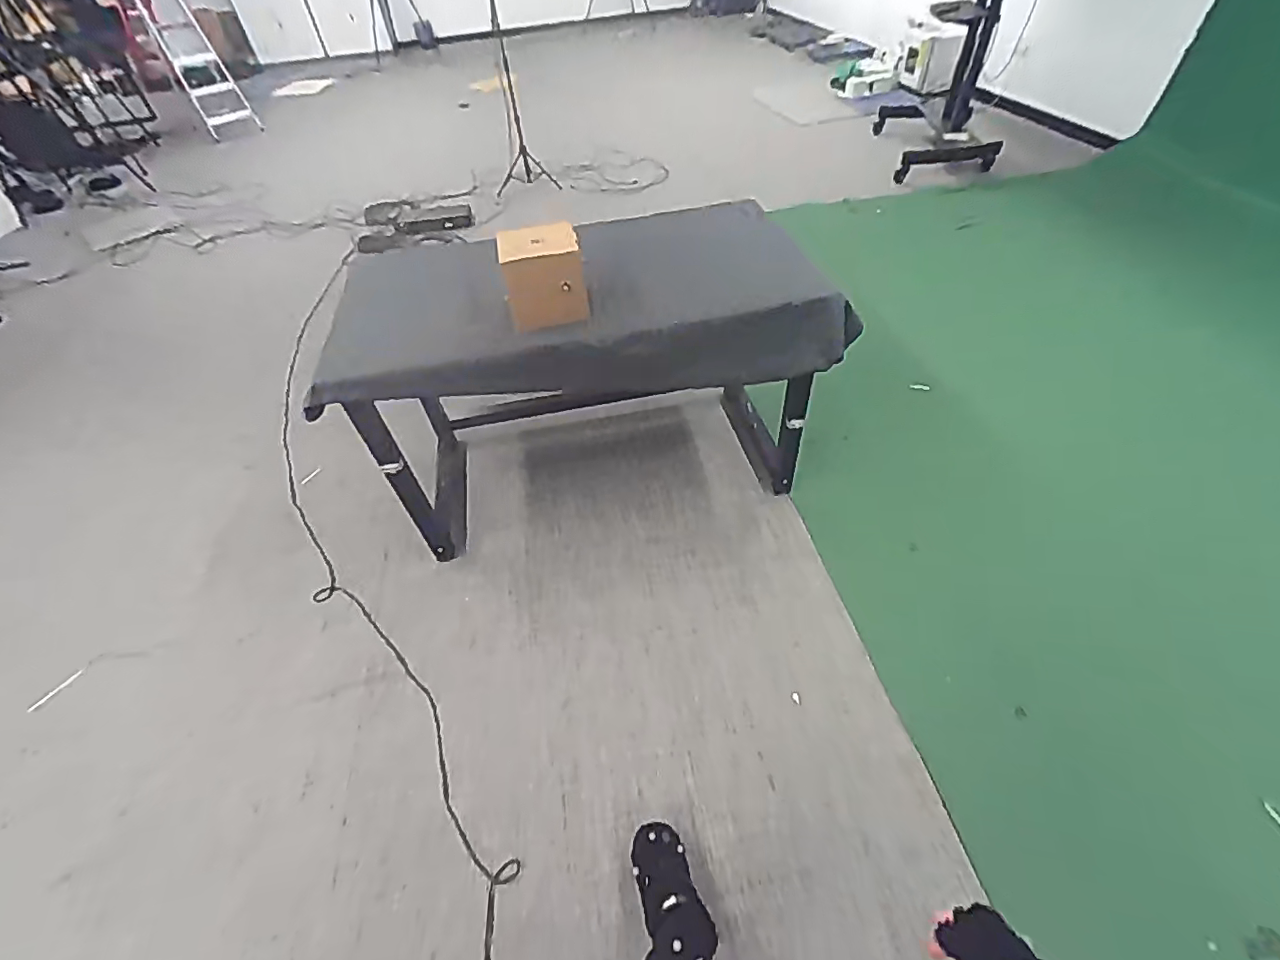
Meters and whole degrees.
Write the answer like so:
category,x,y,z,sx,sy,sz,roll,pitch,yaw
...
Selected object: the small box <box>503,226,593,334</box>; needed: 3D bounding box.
category,x,y,z,sx,sy,sz,roll,pitch,yaw
small box,-0.210,-0.465,1.262,0.179,0.176,0.168,-12,46,-4
